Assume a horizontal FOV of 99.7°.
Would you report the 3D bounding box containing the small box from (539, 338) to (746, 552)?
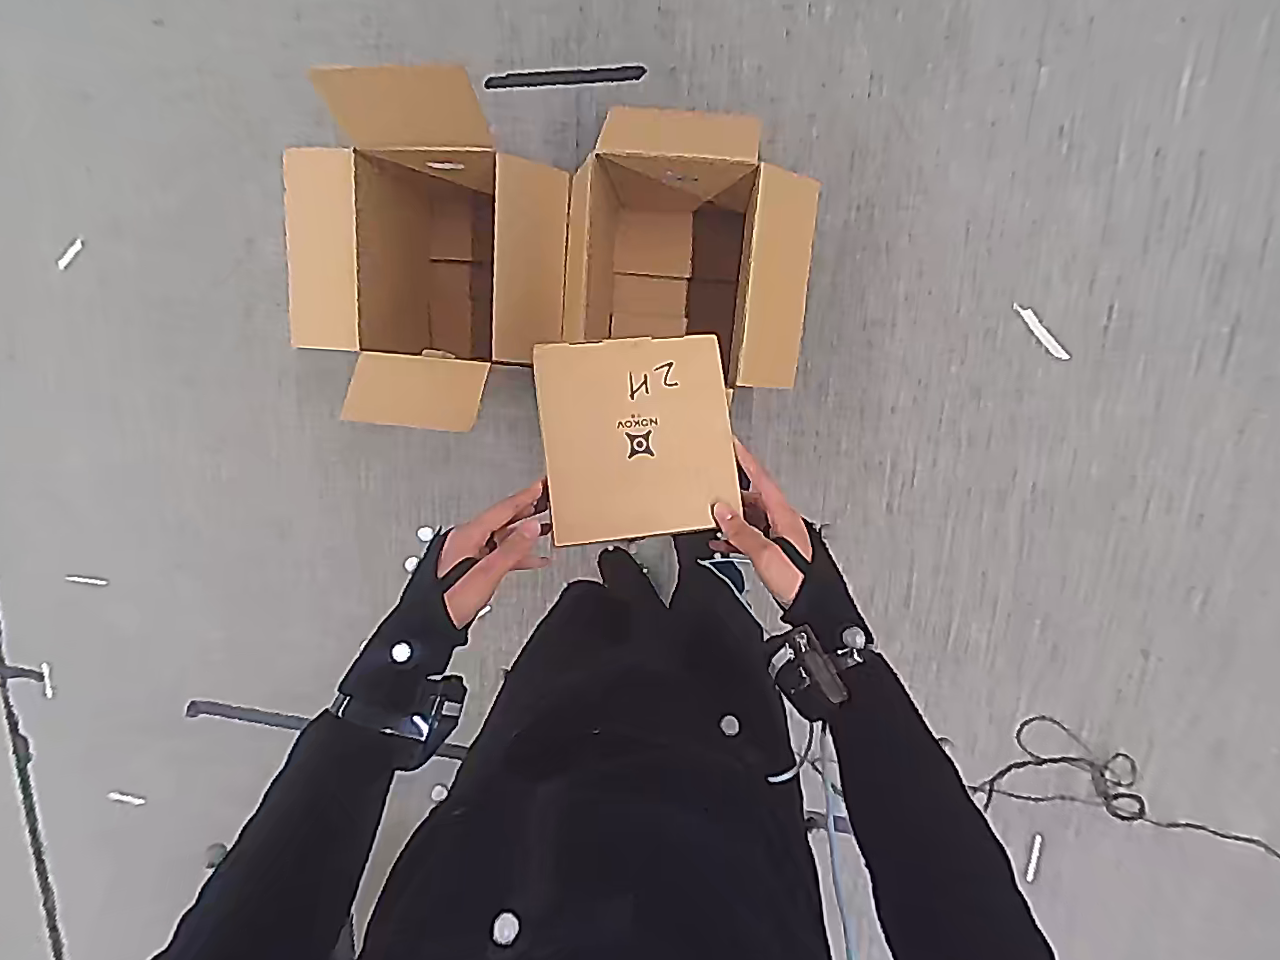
[{"bbox_3d":[-0.008,-0.025,0.536,0.168,0.176,0.179,-5,83,-10],"label":"small box"}]
